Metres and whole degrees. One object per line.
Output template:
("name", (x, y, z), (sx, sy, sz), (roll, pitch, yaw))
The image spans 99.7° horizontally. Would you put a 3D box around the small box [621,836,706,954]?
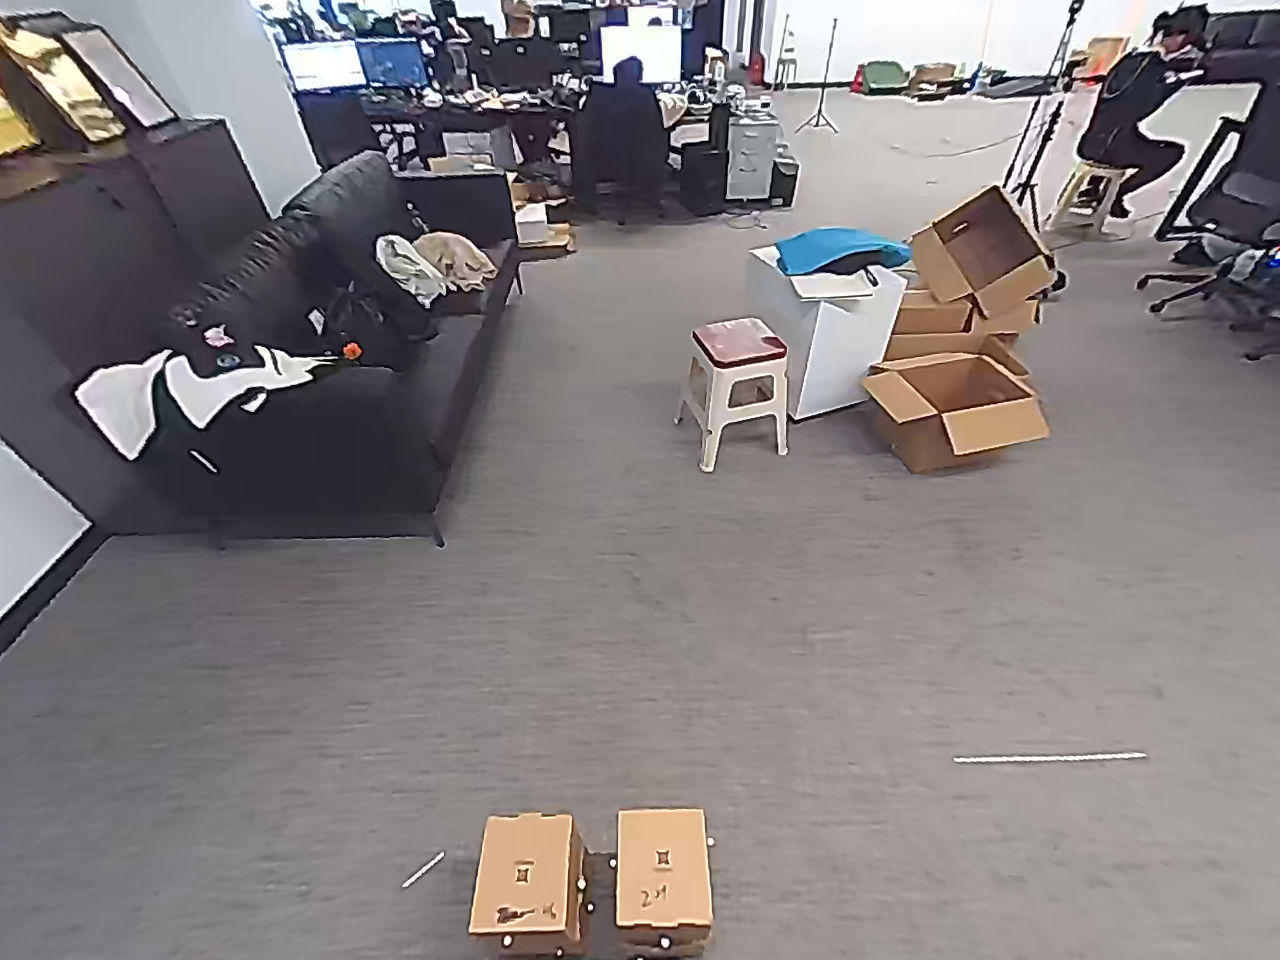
("small box", (0.048, 0.870, 1.132), (0.168, 0.176, 0.179), (-2, 42, 0))
